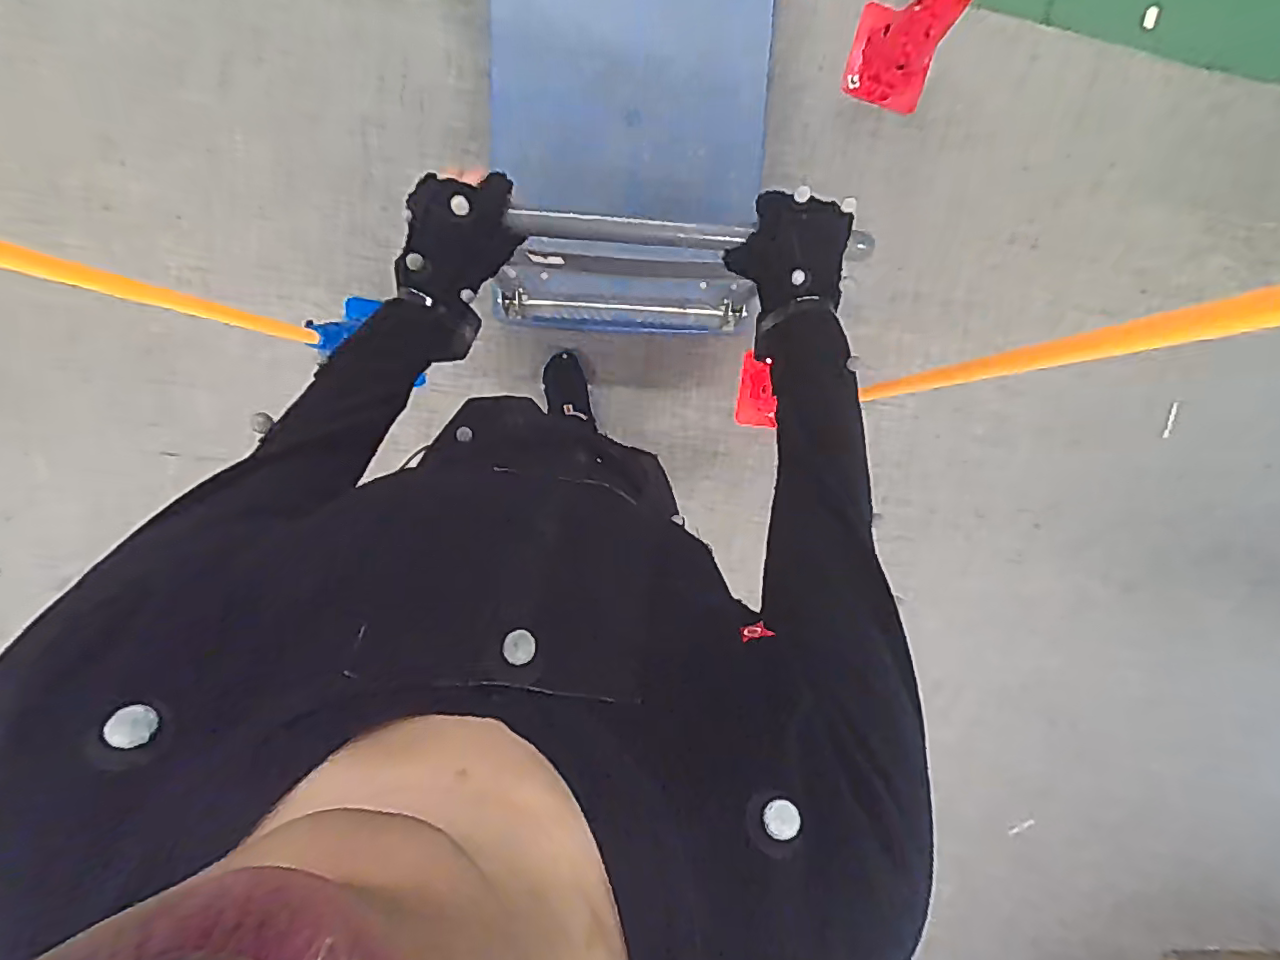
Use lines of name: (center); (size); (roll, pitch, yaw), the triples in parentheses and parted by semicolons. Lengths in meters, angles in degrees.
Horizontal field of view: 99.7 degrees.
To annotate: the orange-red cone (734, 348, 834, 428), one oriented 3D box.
orange-red cone: (0.373, -0.213, 1.297); (0.199, 0.360, 0.198); (7, 101, -5)
